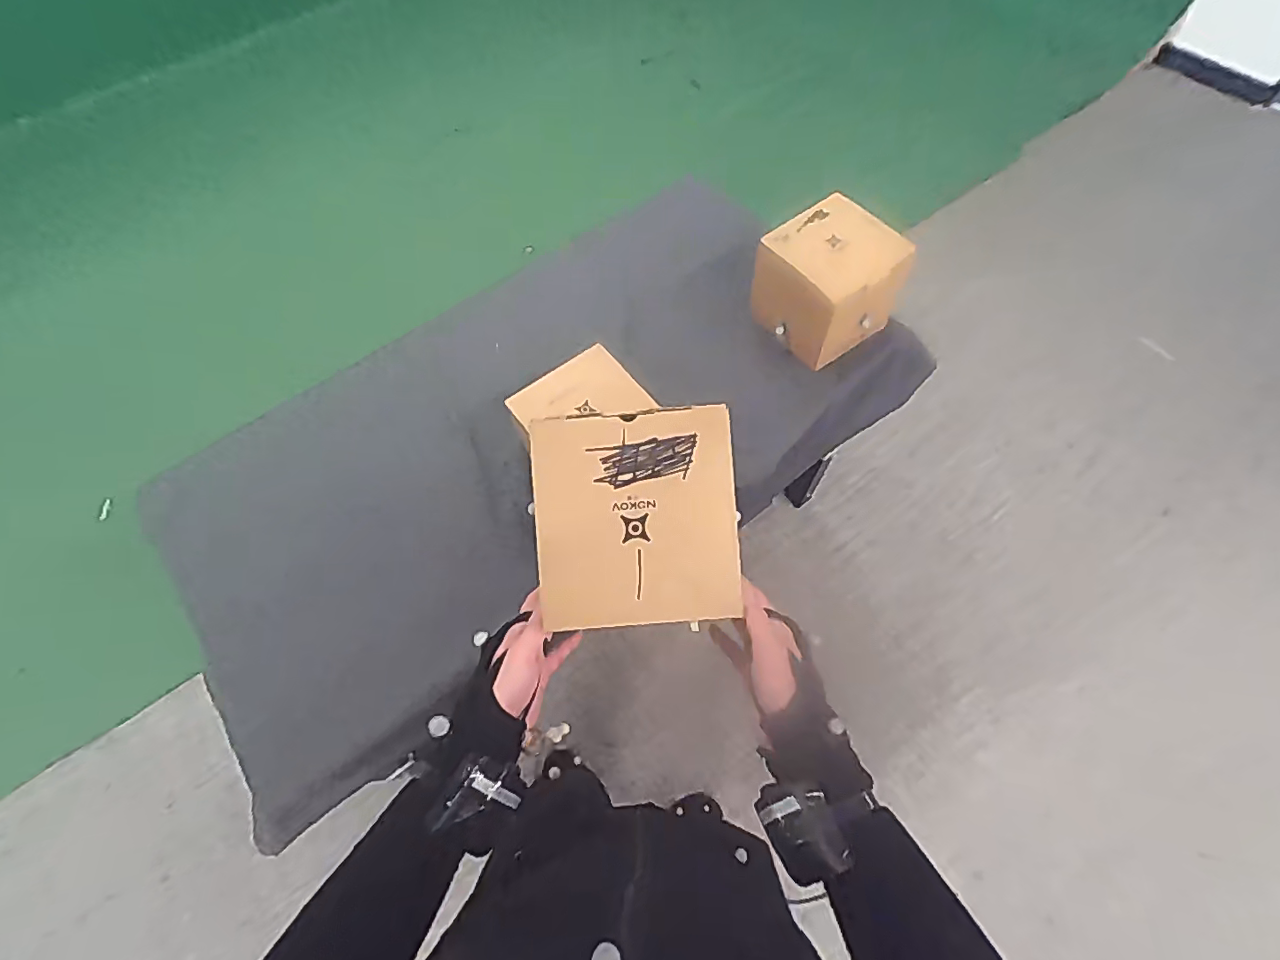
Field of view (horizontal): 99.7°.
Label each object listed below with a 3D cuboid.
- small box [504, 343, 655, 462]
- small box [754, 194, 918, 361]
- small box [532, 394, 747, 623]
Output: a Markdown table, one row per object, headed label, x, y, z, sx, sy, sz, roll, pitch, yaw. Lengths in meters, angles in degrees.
| label | x | y | z | sx | sy | sz | roll | pitch | yaw |
| --- | --- | --- | --- | --- | --- | --- | --- | --- | --- |
| small box | -0.067 | -0.058 | 0.794 | 0.168 | 0.176 | 0.179 | -35 | 65 | -15 |
| small box | 0.311 | -0.323 | 0.897 | 0.168 | 0.176 | 0.179 | -33 | 66 | -10 |
| small box | -0.002 | 0.026 | 0.507 | 0.168 | 0.176 | 0.179 | -4 | 88 | 0 |
